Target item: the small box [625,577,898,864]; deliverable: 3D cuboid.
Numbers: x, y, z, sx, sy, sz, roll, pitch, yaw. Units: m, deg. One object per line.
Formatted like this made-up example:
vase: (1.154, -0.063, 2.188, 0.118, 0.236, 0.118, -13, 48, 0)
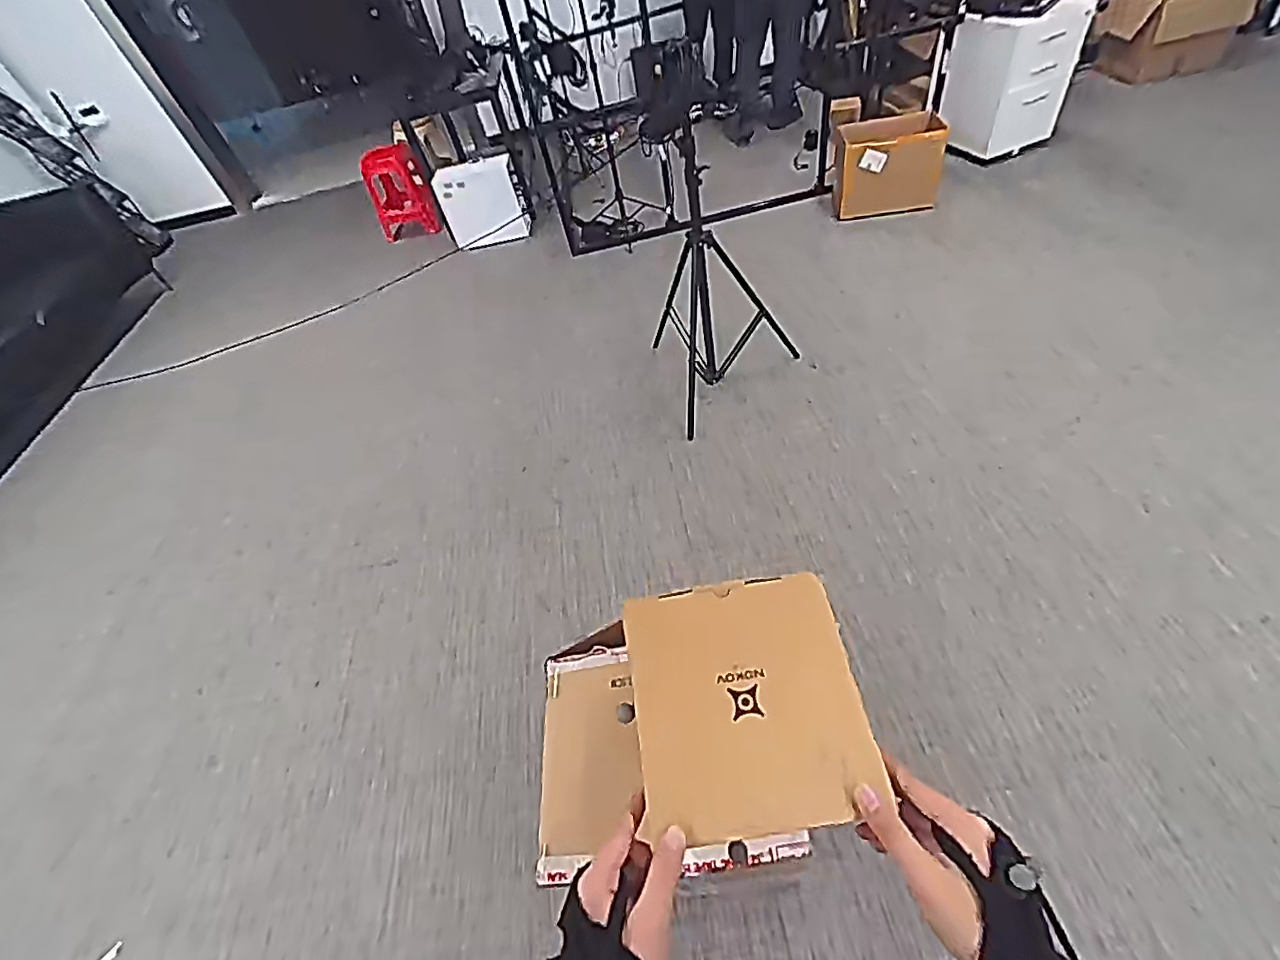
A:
small box: (0.086, 0.206, 0.463, 0.168, 0.176, 0.179, -10, 56, -1)
